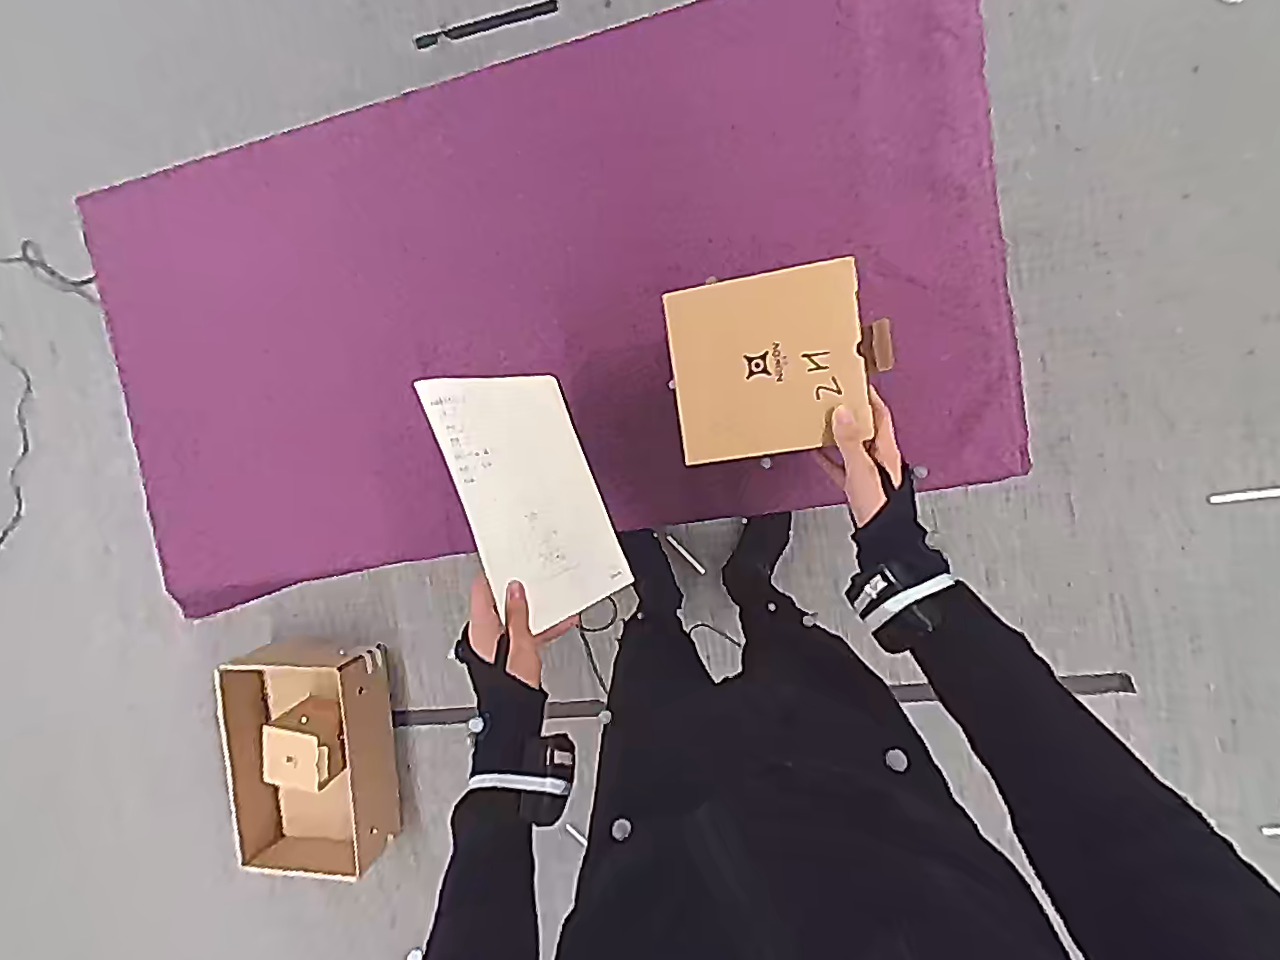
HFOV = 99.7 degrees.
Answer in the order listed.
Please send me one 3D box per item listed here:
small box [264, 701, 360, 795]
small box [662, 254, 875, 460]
[{"bbox_3d":[-0.924,0.751,1.535,0.179,0.176,0.168,6,96,9],"label":"small box"},{"bbox_3d":[0.130,-0.113,0.569,0.179,0.176,0.168,-7,94,11],"label":"small box"}]
